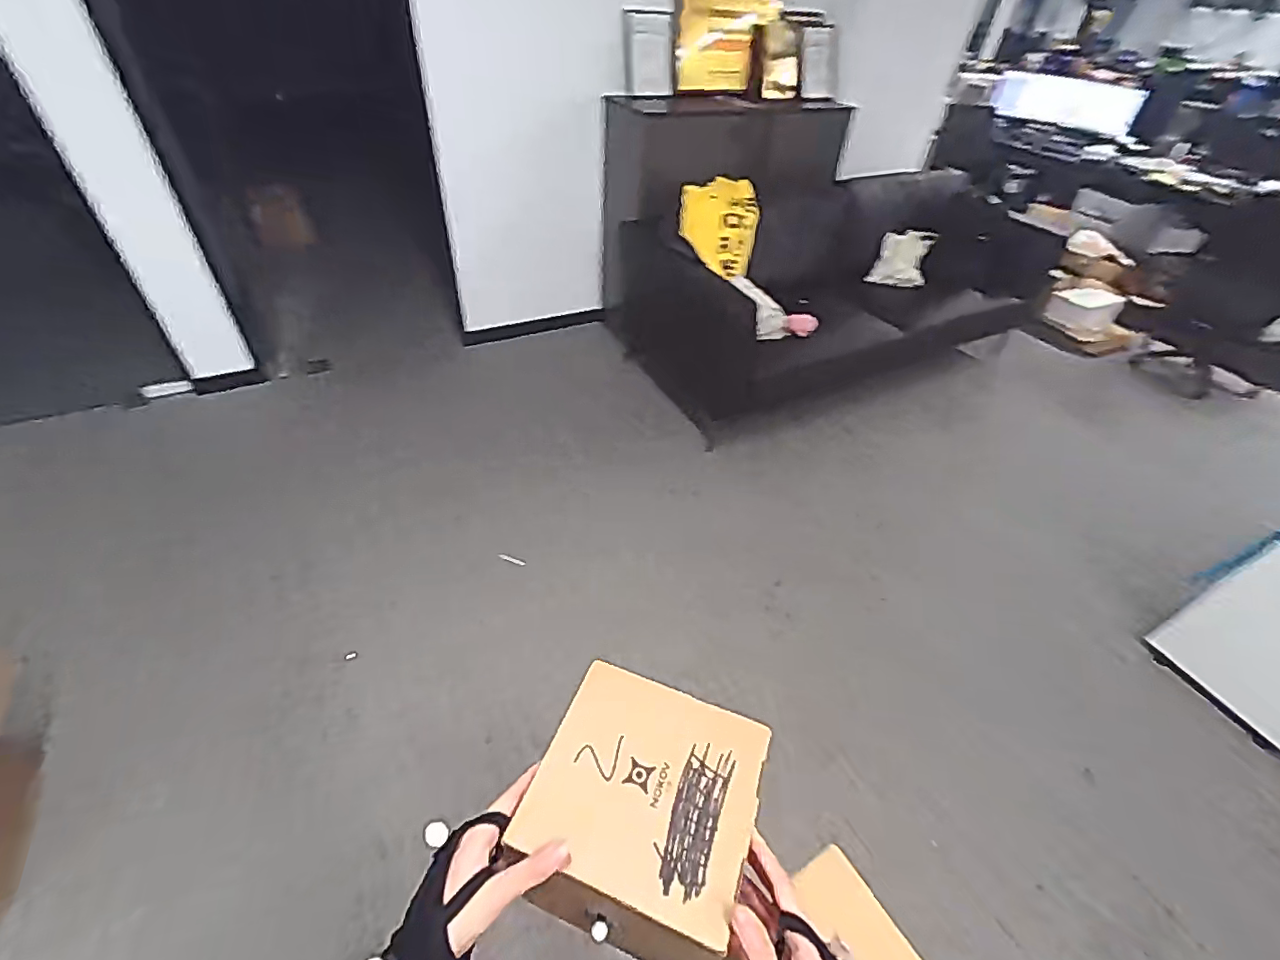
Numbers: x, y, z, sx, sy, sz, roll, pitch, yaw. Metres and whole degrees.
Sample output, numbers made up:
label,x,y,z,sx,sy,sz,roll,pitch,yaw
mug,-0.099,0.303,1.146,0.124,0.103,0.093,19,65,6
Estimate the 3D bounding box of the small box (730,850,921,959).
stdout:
label,x,y,z,sx,sy,sz,roll,pitch,yaw
small box,0.242,0.645,0.722,0.179,0.176,0.168,-21,47,-23
